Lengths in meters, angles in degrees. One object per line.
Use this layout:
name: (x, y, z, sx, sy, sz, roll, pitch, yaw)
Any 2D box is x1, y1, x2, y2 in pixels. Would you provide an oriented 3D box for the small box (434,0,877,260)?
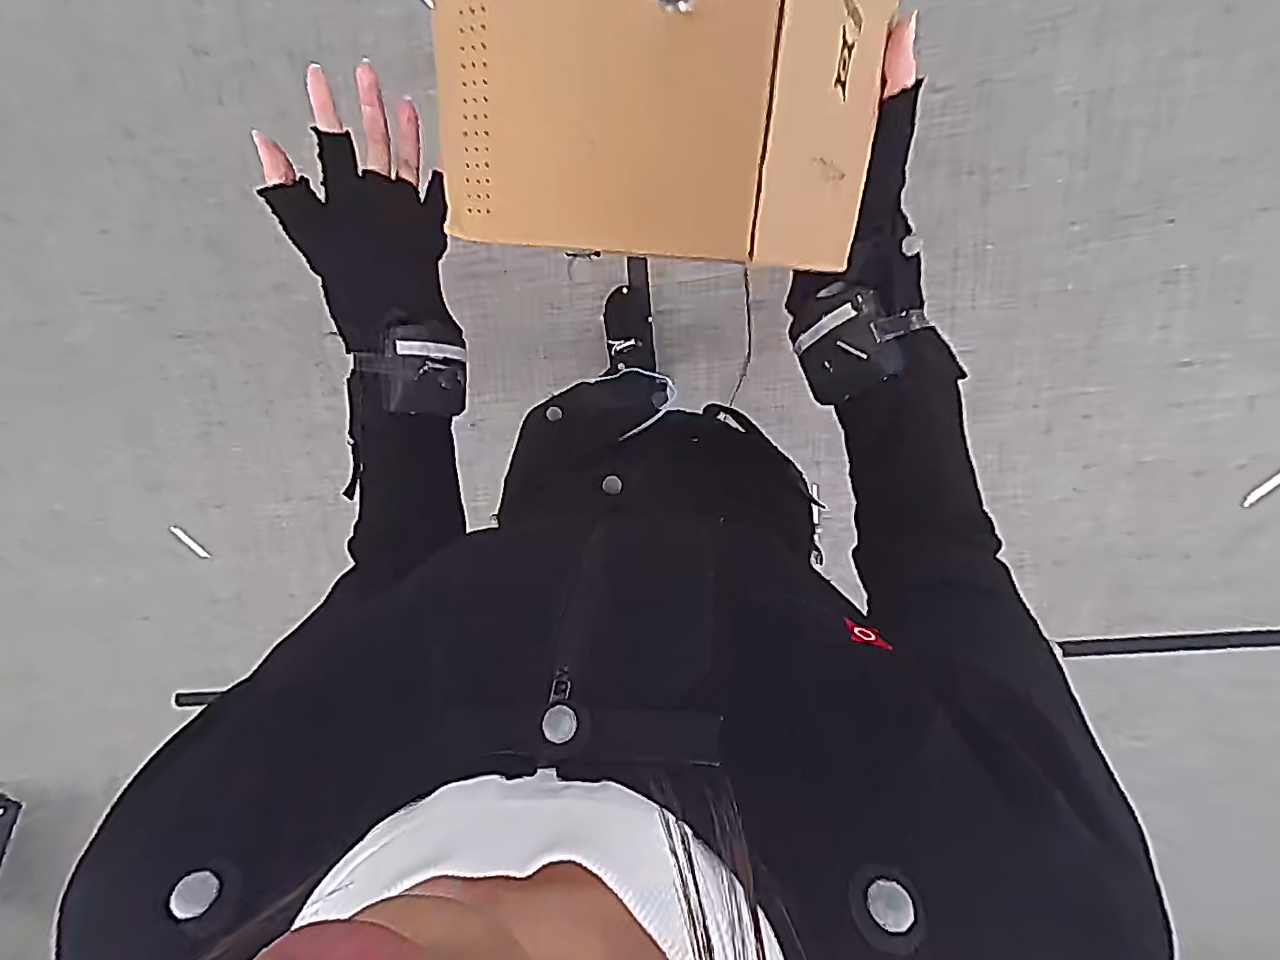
small box: (0.011, -0.213, 0.278, 0.176, 0.168, 0.179, 17, 116, 28)
